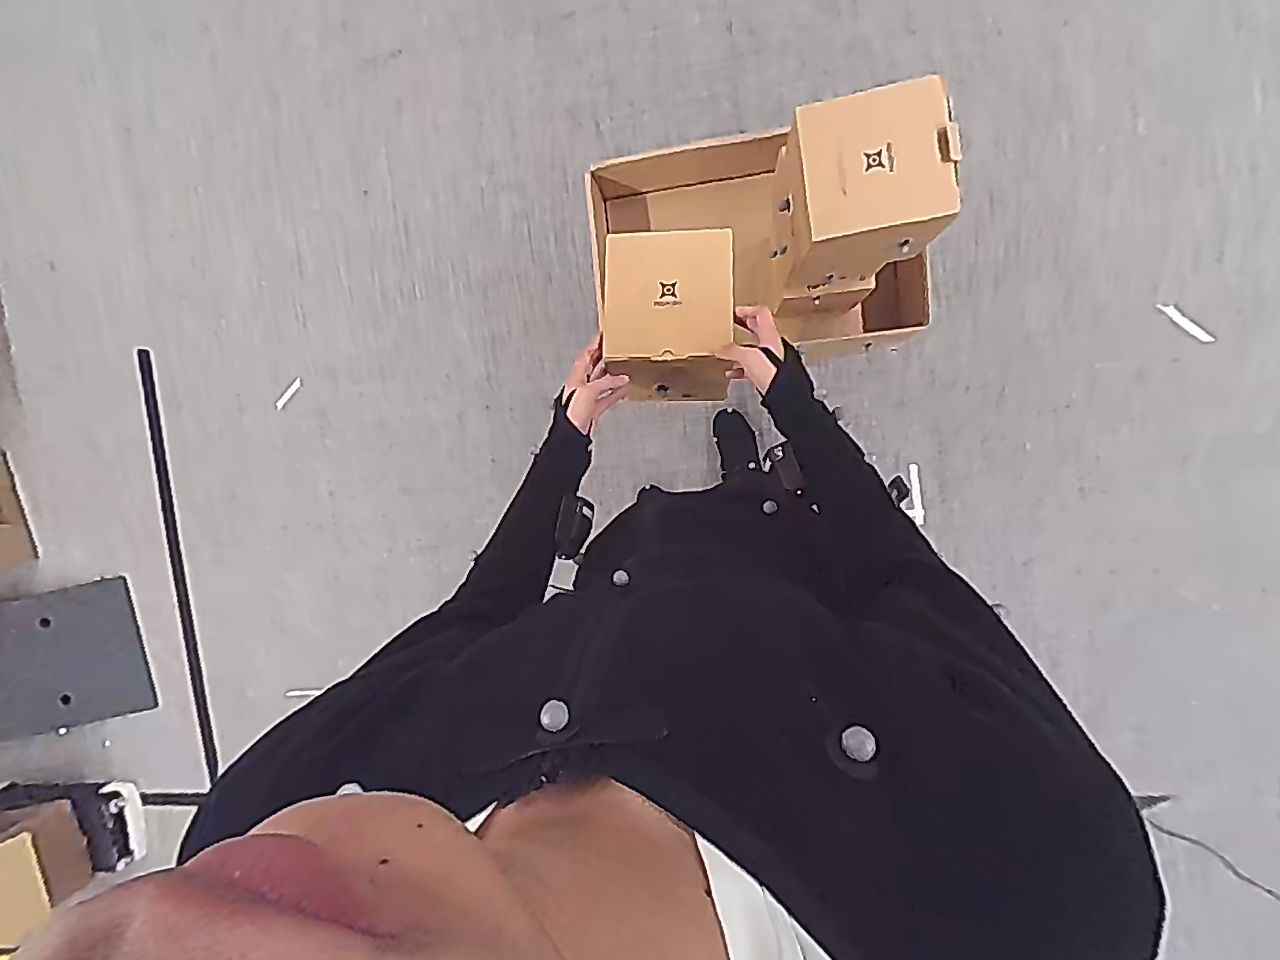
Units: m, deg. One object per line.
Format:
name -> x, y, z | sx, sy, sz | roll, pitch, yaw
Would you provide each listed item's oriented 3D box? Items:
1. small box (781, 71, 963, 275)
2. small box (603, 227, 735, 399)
small box -> 0.296, -0.392, 0.724 | 0.179, 0.176, 0.168 | -8, 93, 8
small box -> 0.043, -0.224, 0.757 | 0.168, 0.176, 0.179 | 0, 80, 5
